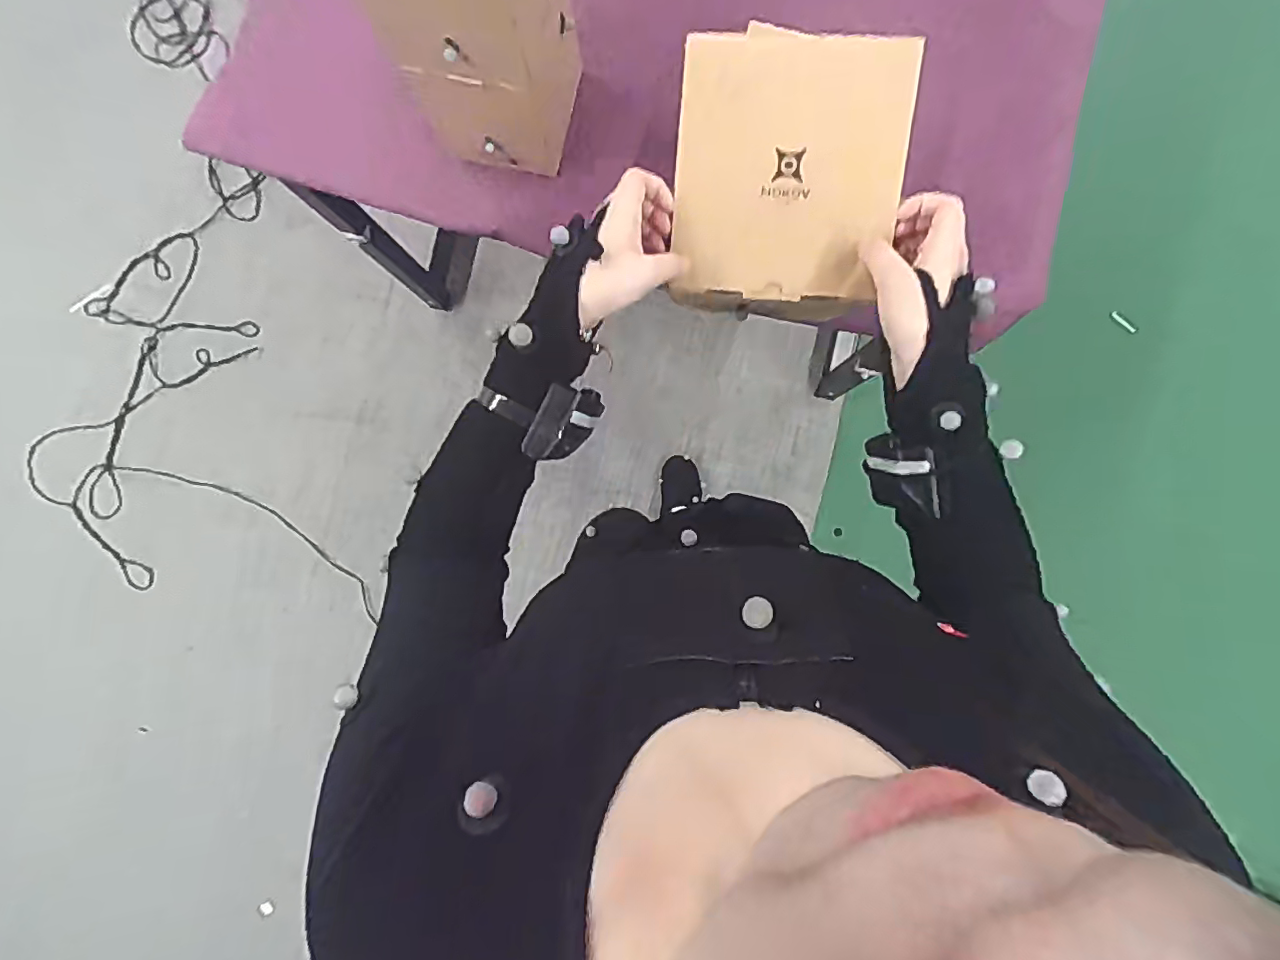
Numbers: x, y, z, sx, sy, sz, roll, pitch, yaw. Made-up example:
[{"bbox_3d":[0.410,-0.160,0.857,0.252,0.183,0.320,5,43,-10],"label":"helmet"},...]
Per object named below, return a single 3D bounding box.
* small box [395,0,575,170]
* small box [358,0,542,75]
[{"bbox_3d":[-0.189,-0.556,0.716,0.168,0.176,0.179,13,87,3],"label":"small box"},{"bbox_3d":[-0.197,-0.563,0.552,0.179,0.176,0.168,12,86,2],"label":"small box"}]
